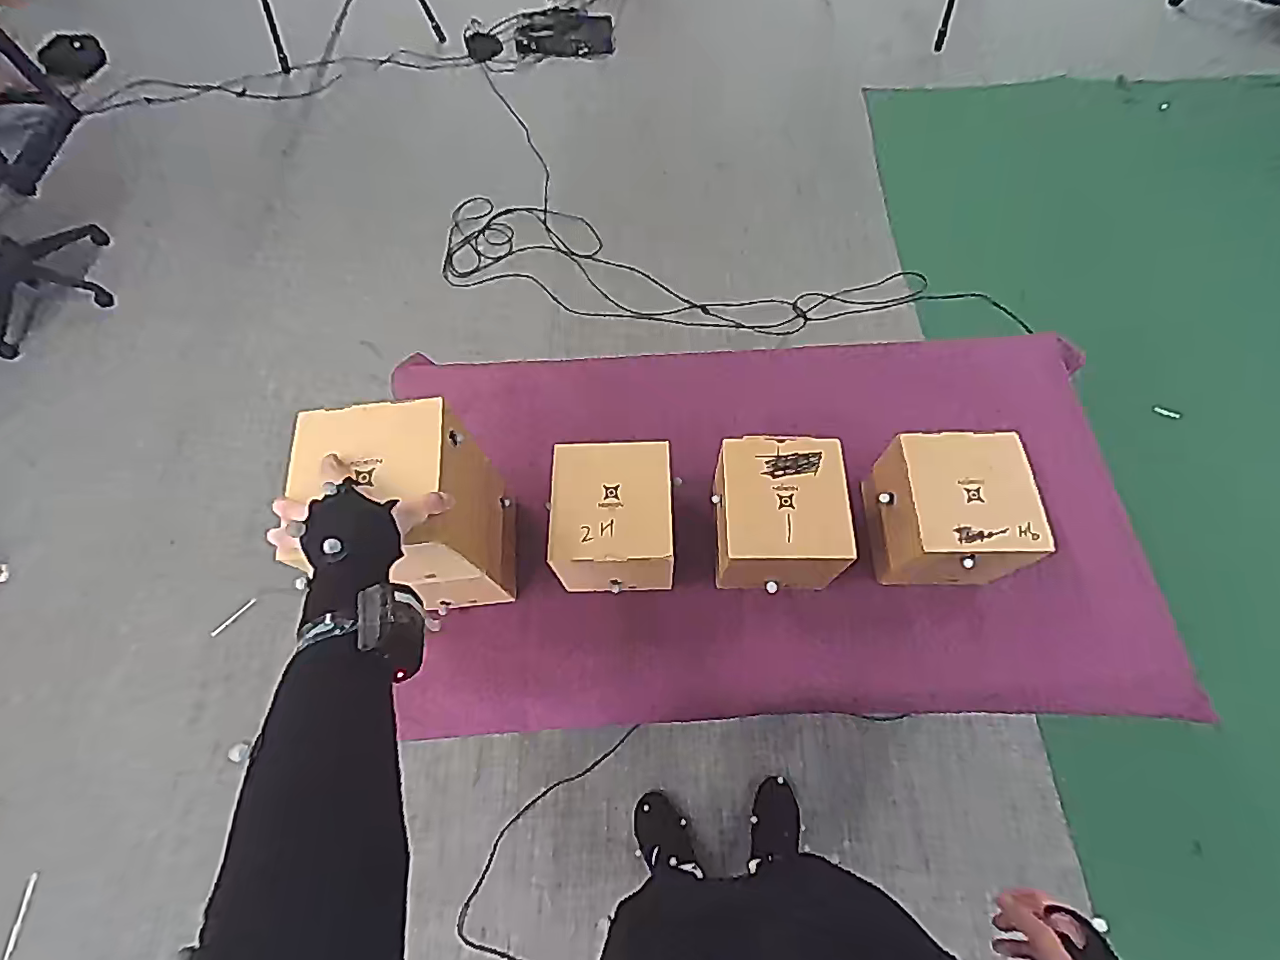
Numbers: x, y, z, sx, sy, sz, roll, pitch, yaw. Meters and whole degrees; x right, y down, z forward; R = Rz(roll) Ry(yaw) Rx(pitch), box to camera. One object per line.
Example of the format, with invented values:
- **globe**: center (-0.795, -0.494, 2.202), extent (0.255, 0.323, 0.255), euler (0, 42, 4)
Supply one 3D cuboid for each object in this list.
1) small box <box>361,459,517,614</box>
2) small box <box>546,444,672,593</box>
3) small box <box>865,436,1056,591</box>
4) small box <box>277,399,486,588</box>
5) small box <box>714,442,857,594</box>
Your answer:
- **small box**: center (-0.286, 0.089, 0.803), extent (0.168, 0.176, 0.179), euler (-6, 66, 0)
- **small box**: center (-0.037, 0.062, 0.803), extent (0.168, 0.176, 0.179), euler (-1, 66, 2)
- **small box**: center (0.443, 0.052, 0.784), extent (0.168, 0.176, 0.179), euler (0, 65, 3)
- **small box**: center (-0.291, 0.027, 0.651), extent (0.168, 0.176, 0.179), euler (-6, 66, -1)
- **small box**: center (0.199, 0.060, 0.793), extent (0.168, 0.176, 0.179), euler (0, 66, 3)
